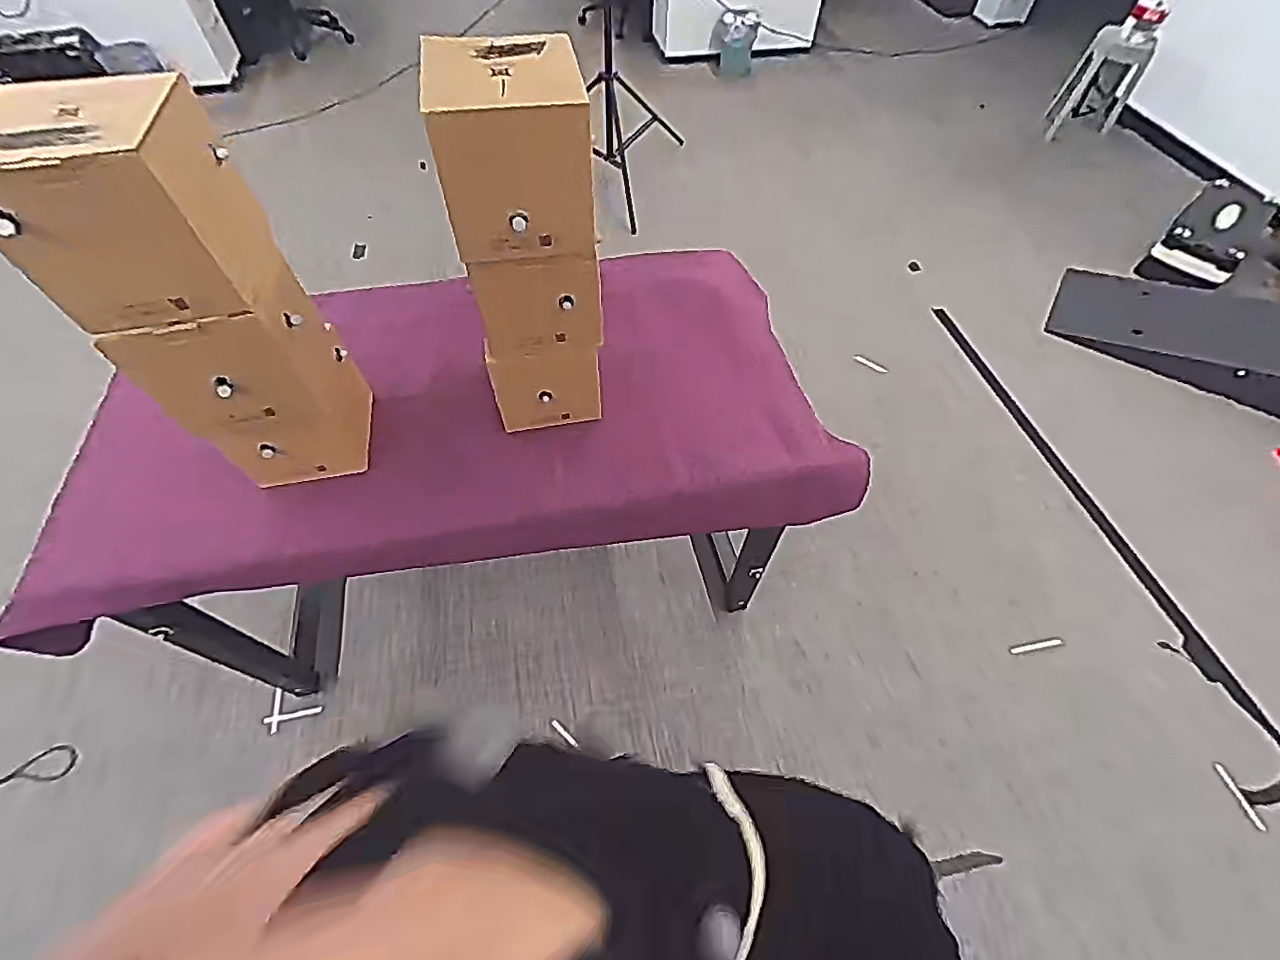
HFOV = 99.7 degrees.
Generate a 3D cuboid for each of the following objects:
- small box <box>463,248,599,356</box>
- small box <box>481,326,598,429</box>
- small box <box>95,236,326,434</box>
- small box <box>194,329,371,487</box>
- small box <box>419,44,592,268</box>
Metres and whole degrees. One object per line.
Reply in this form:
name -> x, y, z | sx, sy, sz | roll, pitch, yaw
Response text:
small box -> -0.153, -0.295, 0.781 | 0.168, 0.176, 0.179 | -8, 56, -7
small box -> -0.166, -0.201, 0.912 | 0.168, 0.176, 0.179 | -9, 57, -8
small box -> -0.527, -0.177, 0.696 | 0.168, 0.176, 0.179 | -14, 58, -10
small box -> -0.538, -0.104, 0.844 | 0.168, 0.176, 0.179 | -10, 57, -8
small box -> -0.151, -0.378, 0.638 | 0.168, 0.176, 0.179 | -9, 58, -8
